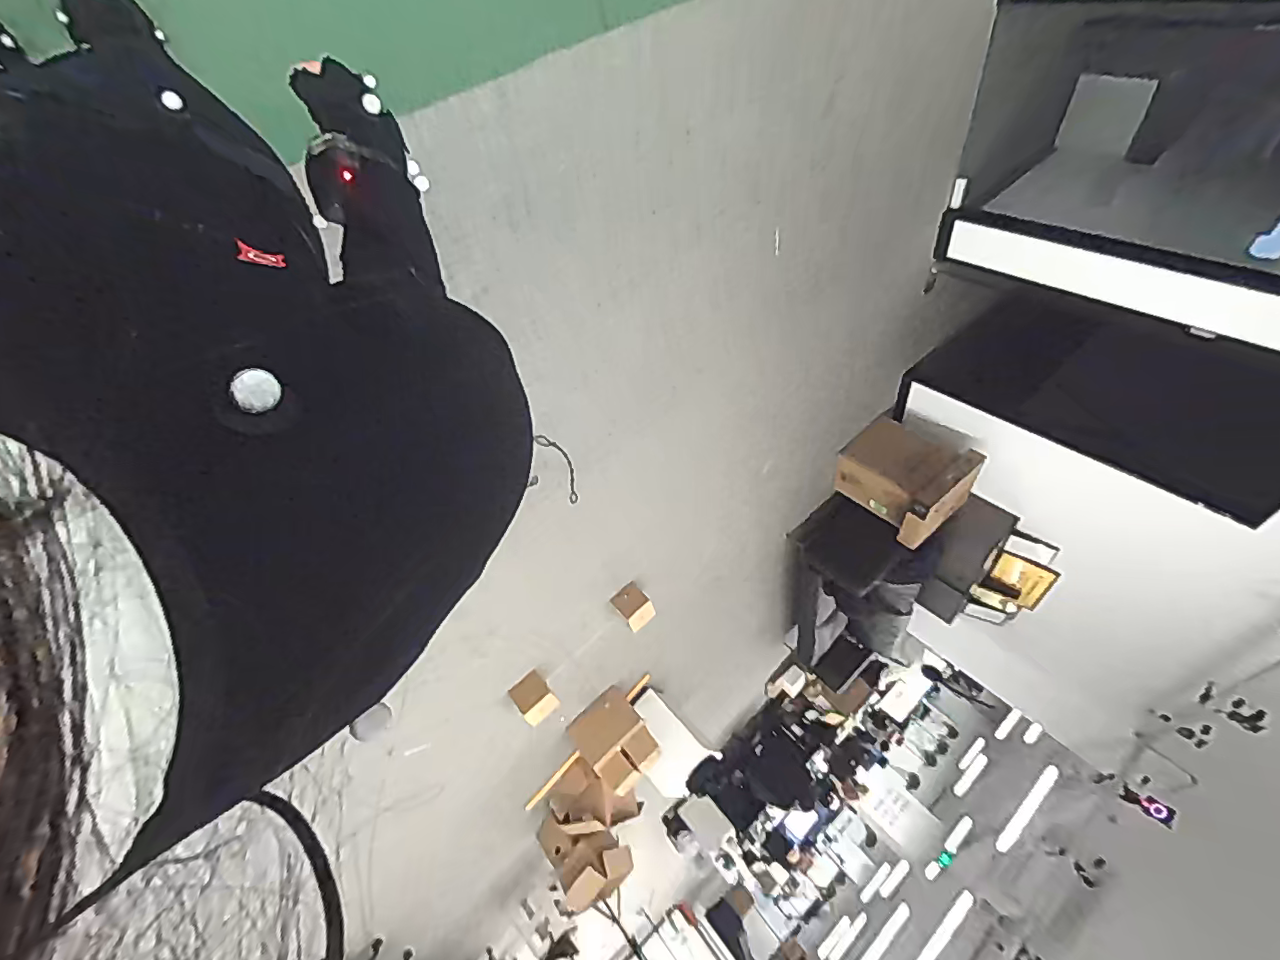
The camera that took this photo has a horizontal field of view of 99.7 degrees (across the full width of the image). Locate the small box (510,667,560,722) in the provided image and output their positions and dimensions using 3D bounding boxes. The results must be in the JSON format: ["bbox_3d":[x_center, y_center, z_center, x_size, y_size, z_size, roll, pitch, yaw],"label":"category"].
[{"bbox_3d":[-0.552,1.112,2.803,0.179,0.176,0.168,-39,143,-18],"label":"small box"}]

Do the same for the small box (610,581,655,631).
[{"bbox_3d":[-0.044,0.694,2.994,0.168,0.176,0.179,-39,143,-17],"label":"small box"}]
